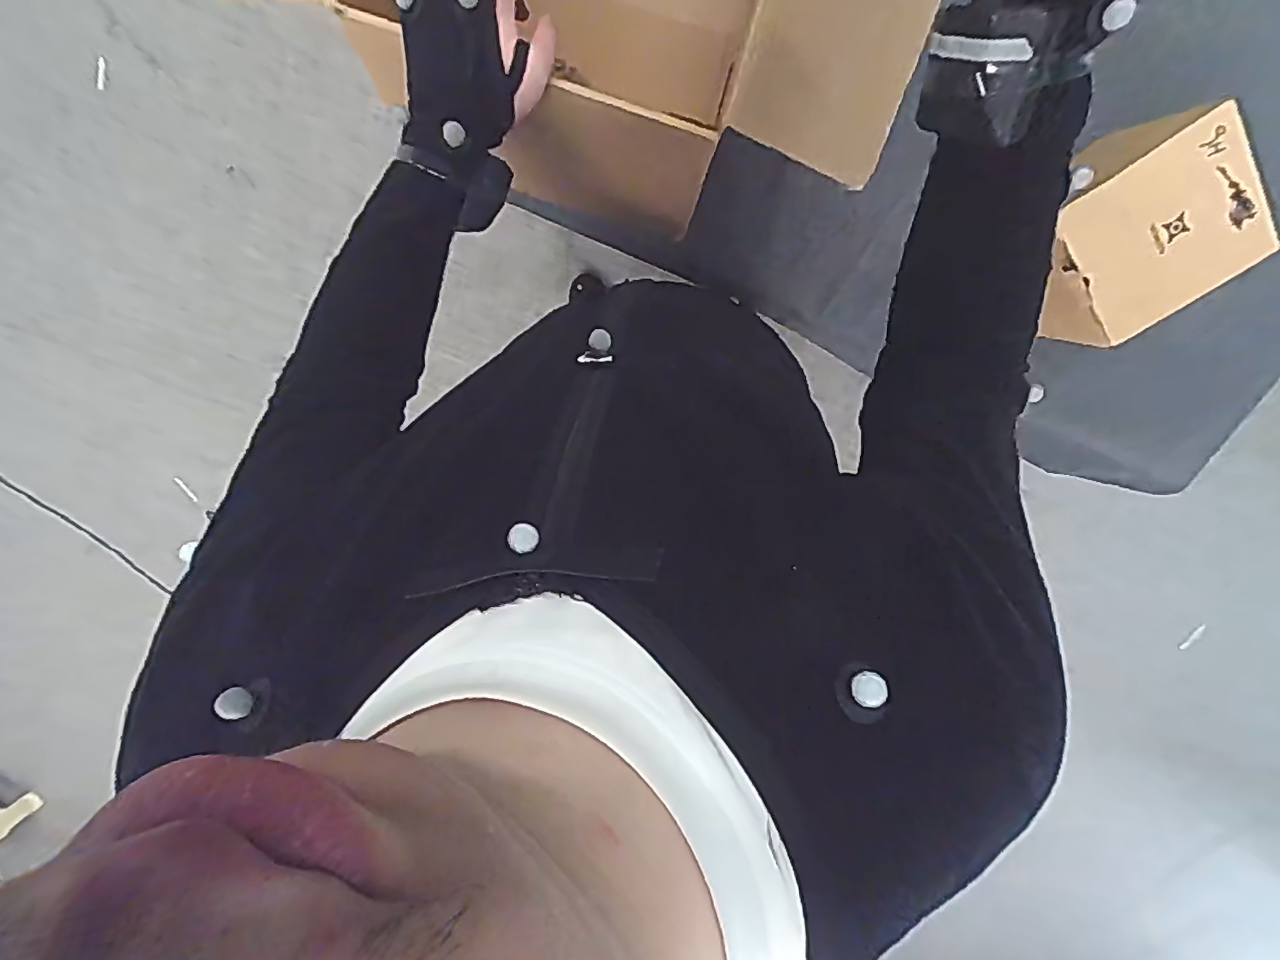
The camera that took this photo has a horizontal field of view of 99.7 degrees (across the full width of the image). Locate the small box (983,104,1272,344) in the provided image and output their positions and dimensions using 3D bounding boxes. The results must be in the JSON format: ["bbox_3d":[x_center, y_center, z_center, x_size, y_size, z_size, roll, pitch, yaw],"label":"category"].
[{"bbox_3d":[0.542,-0.283,0.633,0.179,0.176,0.168,-33,106,14],"label":"small box"}]
